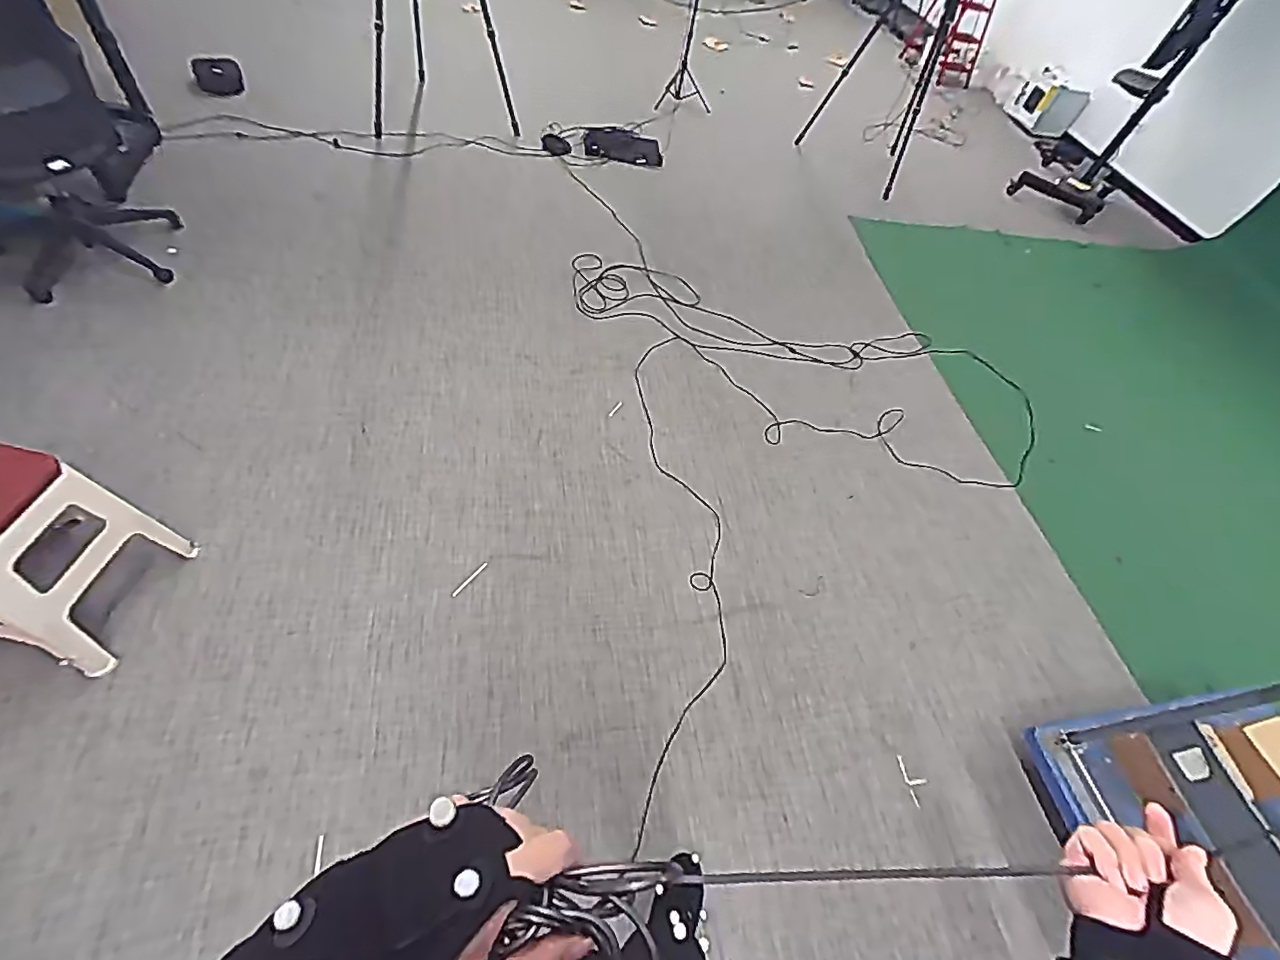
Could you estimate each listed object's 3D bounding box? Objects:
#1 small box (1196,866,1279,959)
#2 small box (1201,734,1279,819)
[{"bbox_3d":[1.469,1.001,1.244,0.179,0.176,0.168,-2,54,-11],"label":"small box"},{"bbox_3d":[1.676,0.789,1.441,0.179,0.176,0.168,-5,56,-15],"label":"small box"}]
